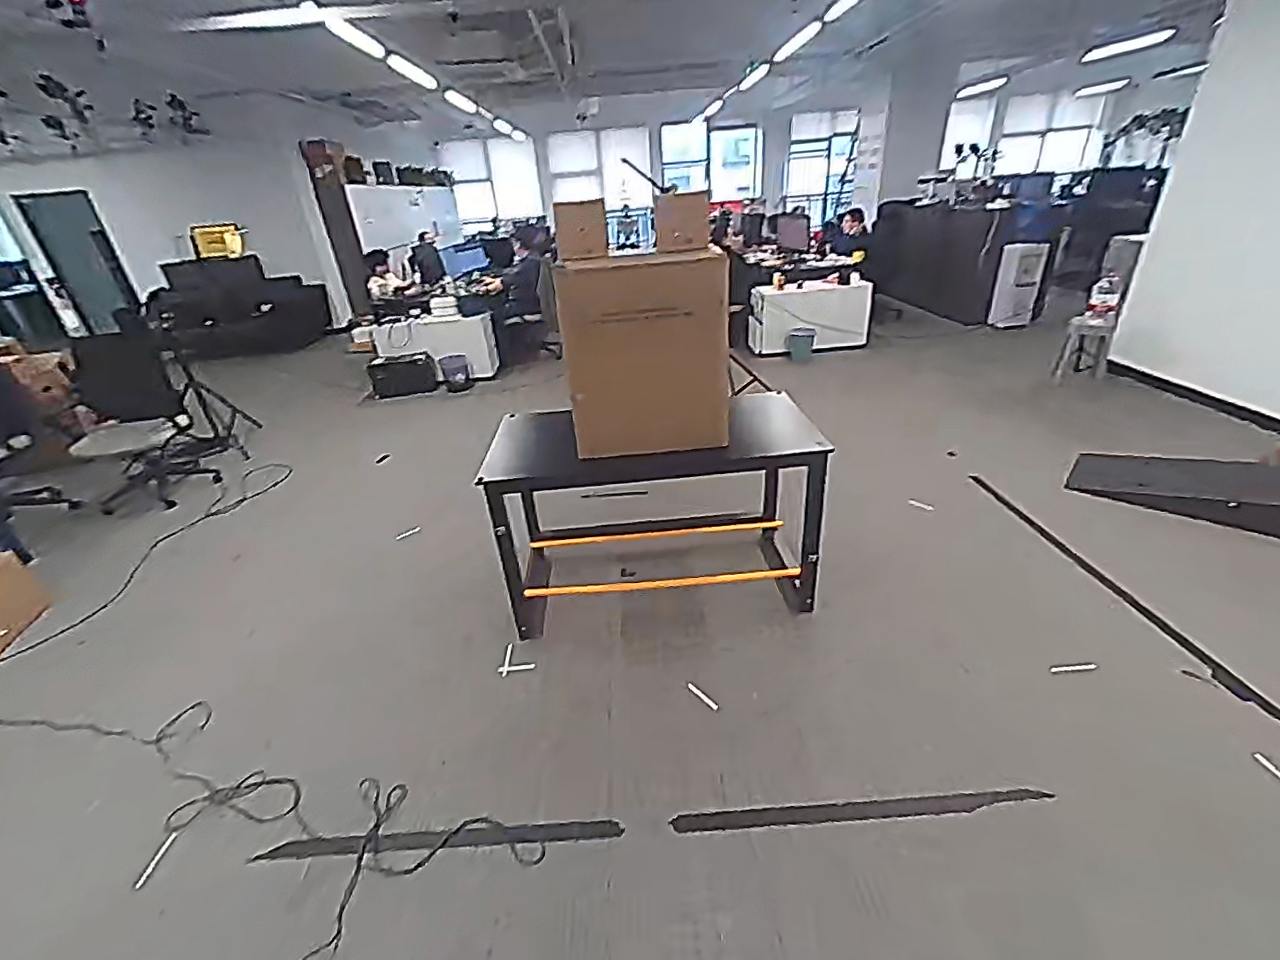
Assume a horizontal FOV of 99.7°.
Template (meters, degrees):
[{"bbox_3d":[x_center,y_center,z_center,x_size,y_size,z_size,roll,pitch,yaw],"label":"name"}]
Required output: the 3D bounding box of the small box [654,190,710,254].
[{"bbox_3d":[0.135,-0.839,1.759,0.168,0.176,0.179,-7,28,3],"label":"small box"}]

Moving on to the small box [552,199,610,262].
[{"bbox_3d":[-0.192,-0.813,1.764,0.168,0.176,0.179,-7,28,-5],"label":"small box"}]
